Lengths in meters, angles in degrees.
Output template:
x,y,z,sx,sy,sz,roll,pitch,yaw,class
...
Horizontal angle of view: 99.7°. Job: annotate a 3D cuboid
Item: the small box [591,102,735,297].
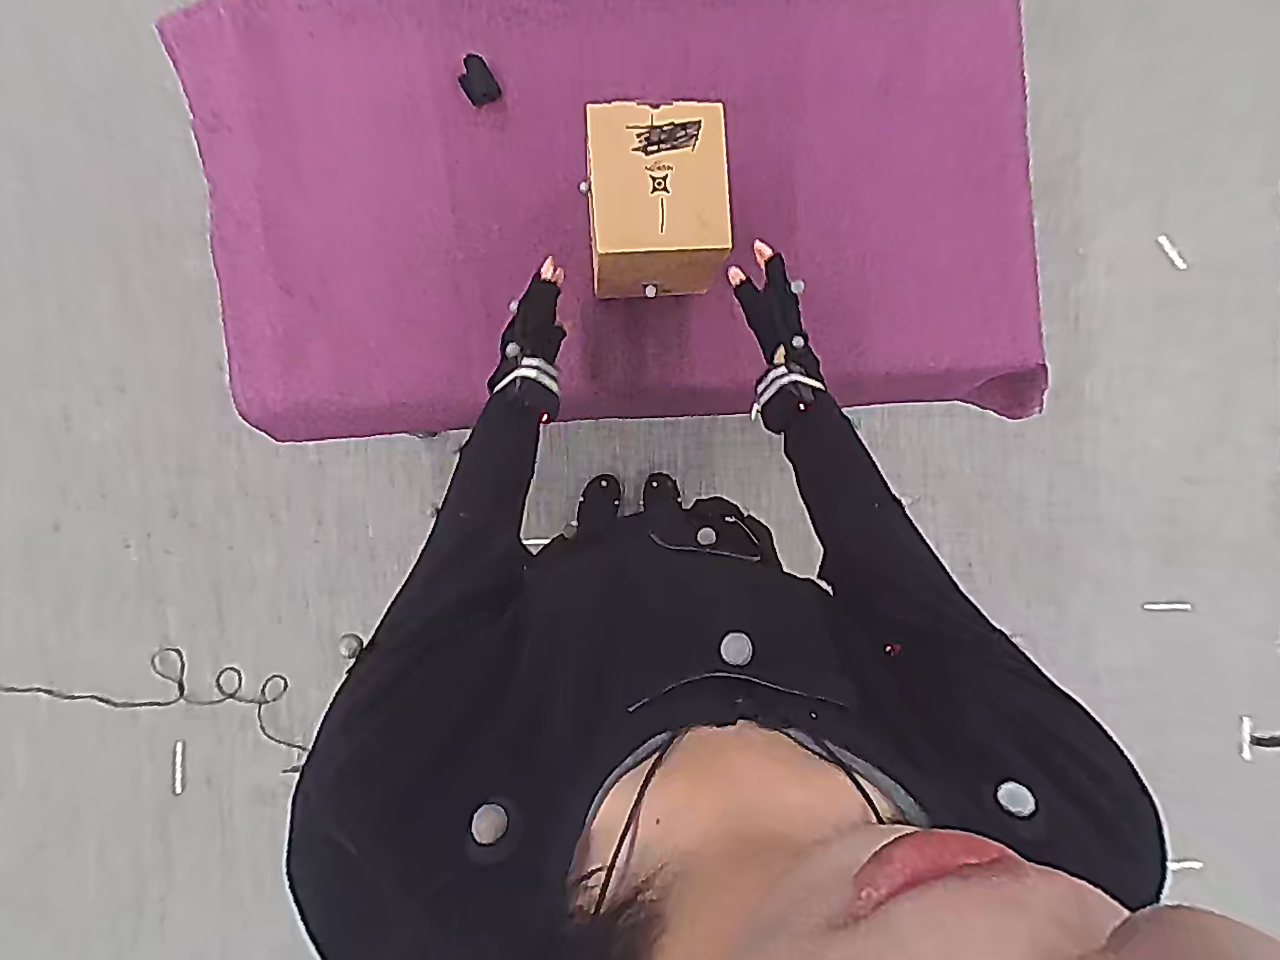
x,y,z,sx,sy,sz,roll,pitch,yaw,class
0.021,-0.361,0.721,0.168,0.176,0.179,-4,90,-4,small box
